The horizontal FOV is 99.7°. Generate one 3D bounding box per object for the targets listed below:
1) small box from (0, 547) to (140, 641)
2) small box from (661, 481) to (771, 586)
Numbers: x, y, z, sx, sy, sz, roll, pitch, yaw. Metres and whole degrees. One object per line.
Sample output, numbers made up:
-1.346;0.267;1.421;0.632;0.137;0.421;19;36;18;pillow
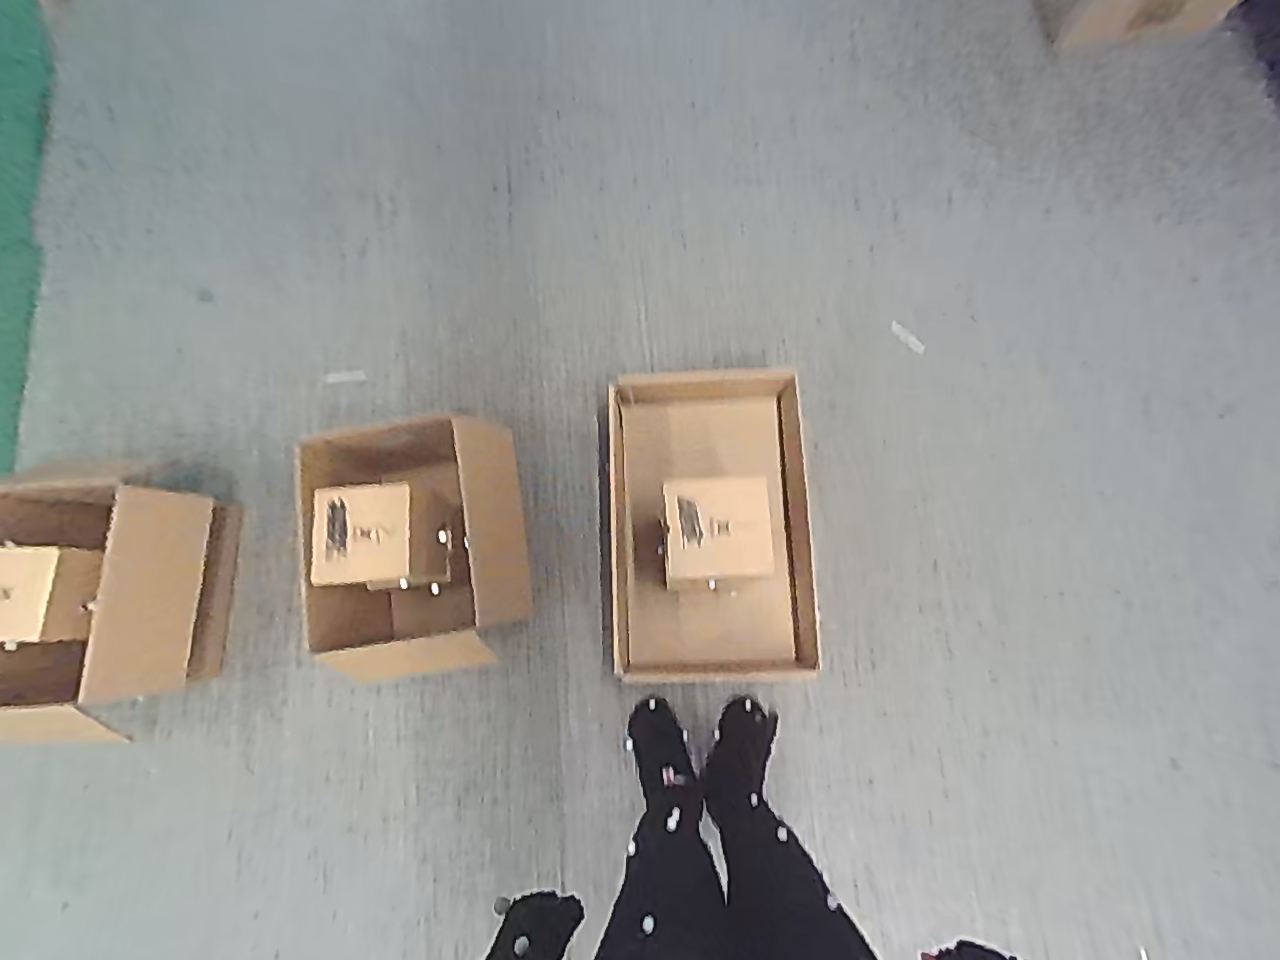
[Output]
-1.134;0.219;1.047;0.179;0.176;0.168;0;77;2;small box
0.128;0.102;0.978;0.179;0.176;0.168;-2;76;1;small box
